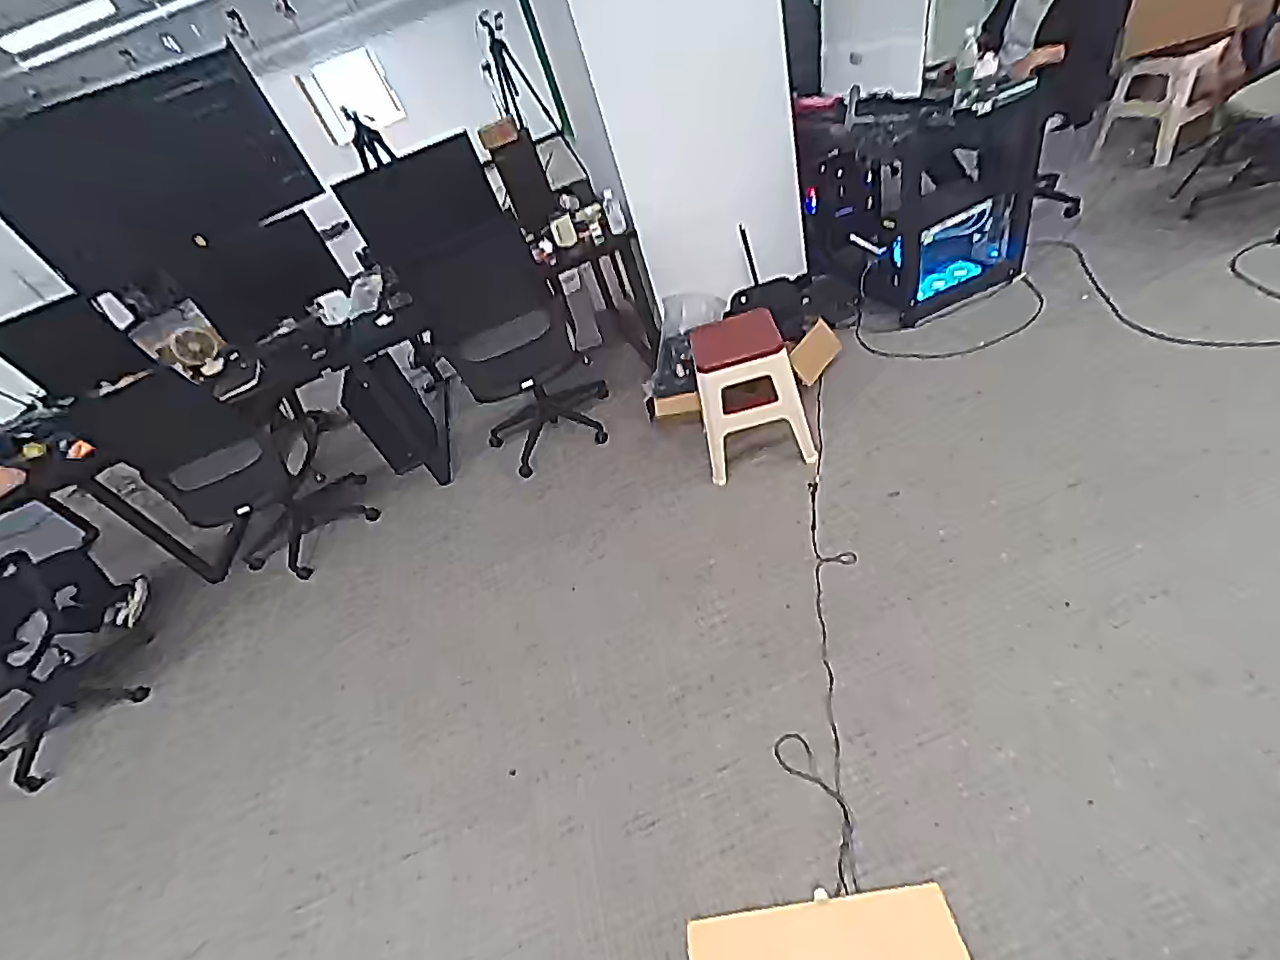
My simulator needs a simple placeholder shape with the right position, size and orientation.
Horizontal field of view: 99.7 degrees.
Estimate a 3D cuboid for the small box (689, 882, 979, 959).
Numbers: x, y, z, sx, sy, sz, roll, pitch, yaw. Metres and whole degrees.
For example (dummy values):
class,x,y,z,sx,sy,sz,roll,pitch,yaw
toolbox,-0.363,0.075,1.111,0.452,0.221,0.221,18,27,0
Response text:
class,x,y,z,sx,sy,sz,roll,pitch,yaw
small box,0.140,0.390,0.348,0.179,0.176,0.168,-14,38,6
